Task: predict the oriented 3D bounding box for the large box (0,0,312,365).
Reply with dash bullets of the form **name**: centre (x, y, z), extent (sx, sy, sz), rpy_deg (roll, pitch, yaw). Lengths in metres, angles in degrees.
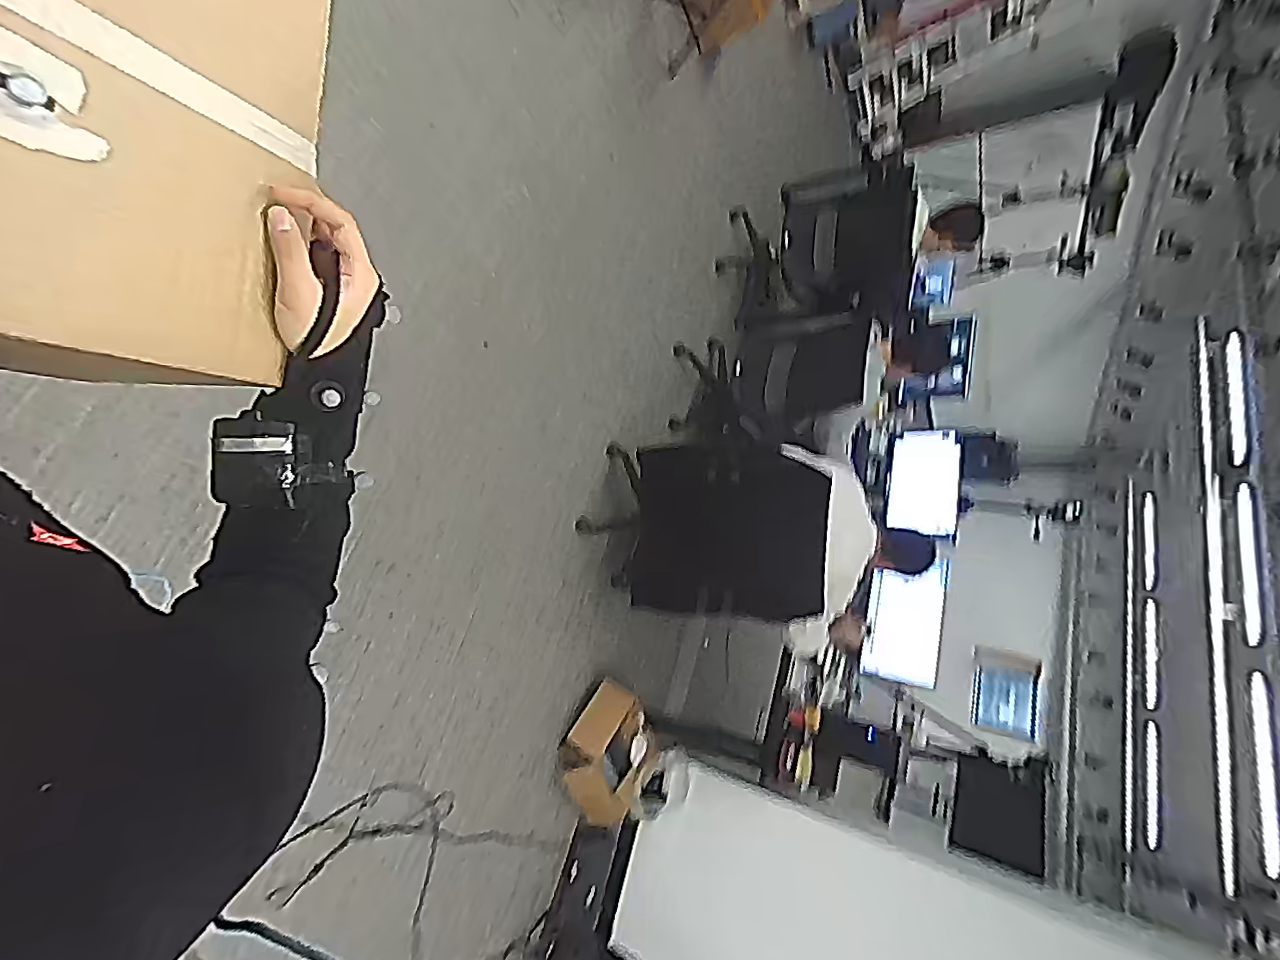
- **large box**: centre (-0.458, -0.246, 0.262), extent (0.408, 0.320, 0.320), rpy_deg (3, 94, -65)
